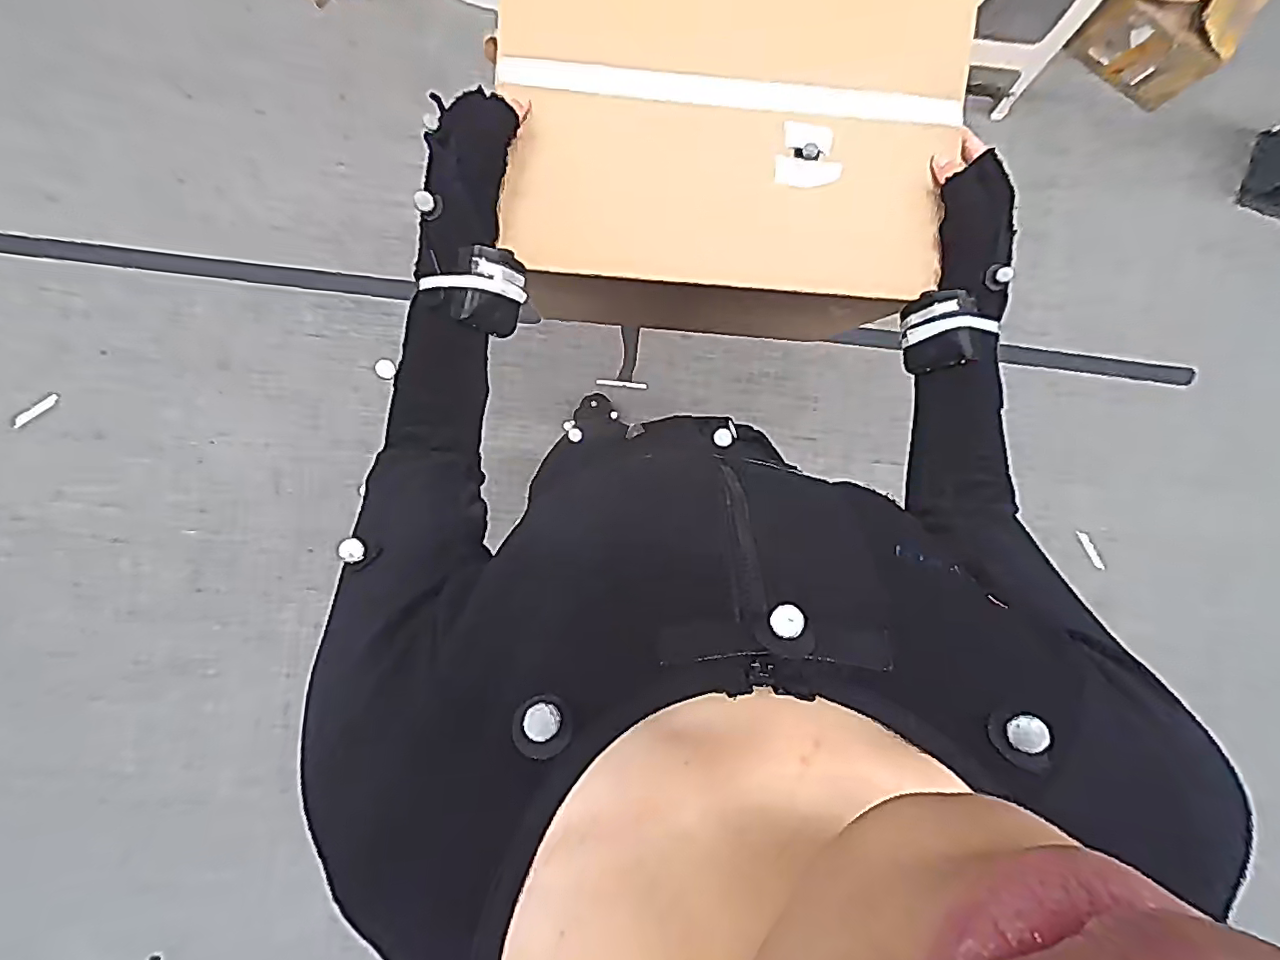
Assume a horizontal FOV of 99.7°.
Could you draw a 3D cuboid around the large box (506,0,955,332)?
[{"bbox_3d":[0.070,-0.360,0.635,0.408,0.320,0.320,3,98,-4],"label":"large box"}]
